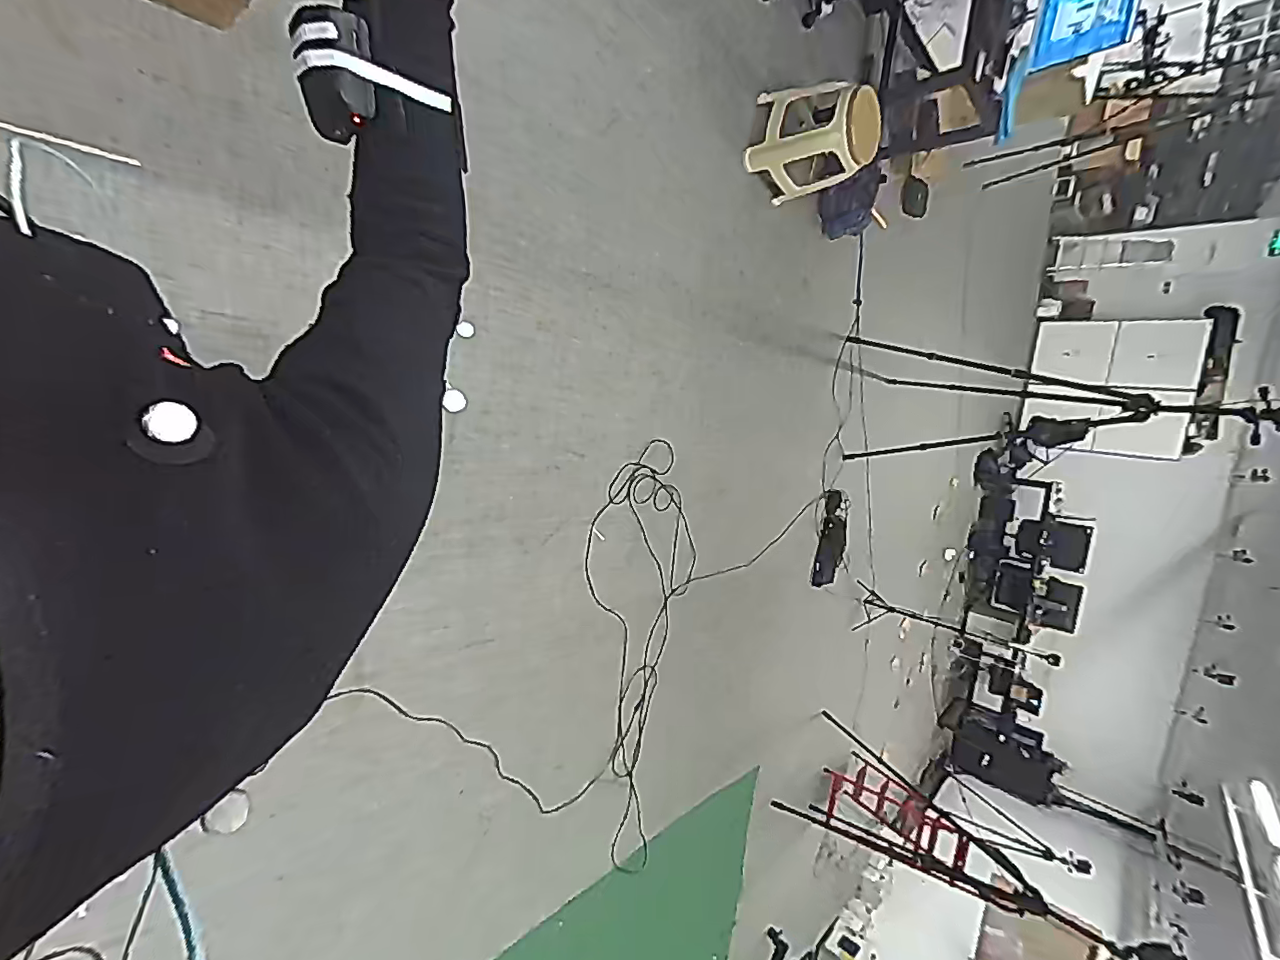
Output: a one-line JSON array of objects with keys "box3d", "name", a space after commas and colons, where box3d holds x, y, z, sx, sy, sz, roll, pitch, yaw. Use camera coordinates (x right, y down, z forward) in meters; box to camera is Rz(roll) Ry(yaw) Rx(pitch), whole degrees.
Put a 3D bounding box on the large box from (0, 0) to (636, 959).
[{"box3d": [-0.204, 0.046, 0.311, 0.320, 0.320, 0.408, 13, 59, -16], "name": "large box"}]
